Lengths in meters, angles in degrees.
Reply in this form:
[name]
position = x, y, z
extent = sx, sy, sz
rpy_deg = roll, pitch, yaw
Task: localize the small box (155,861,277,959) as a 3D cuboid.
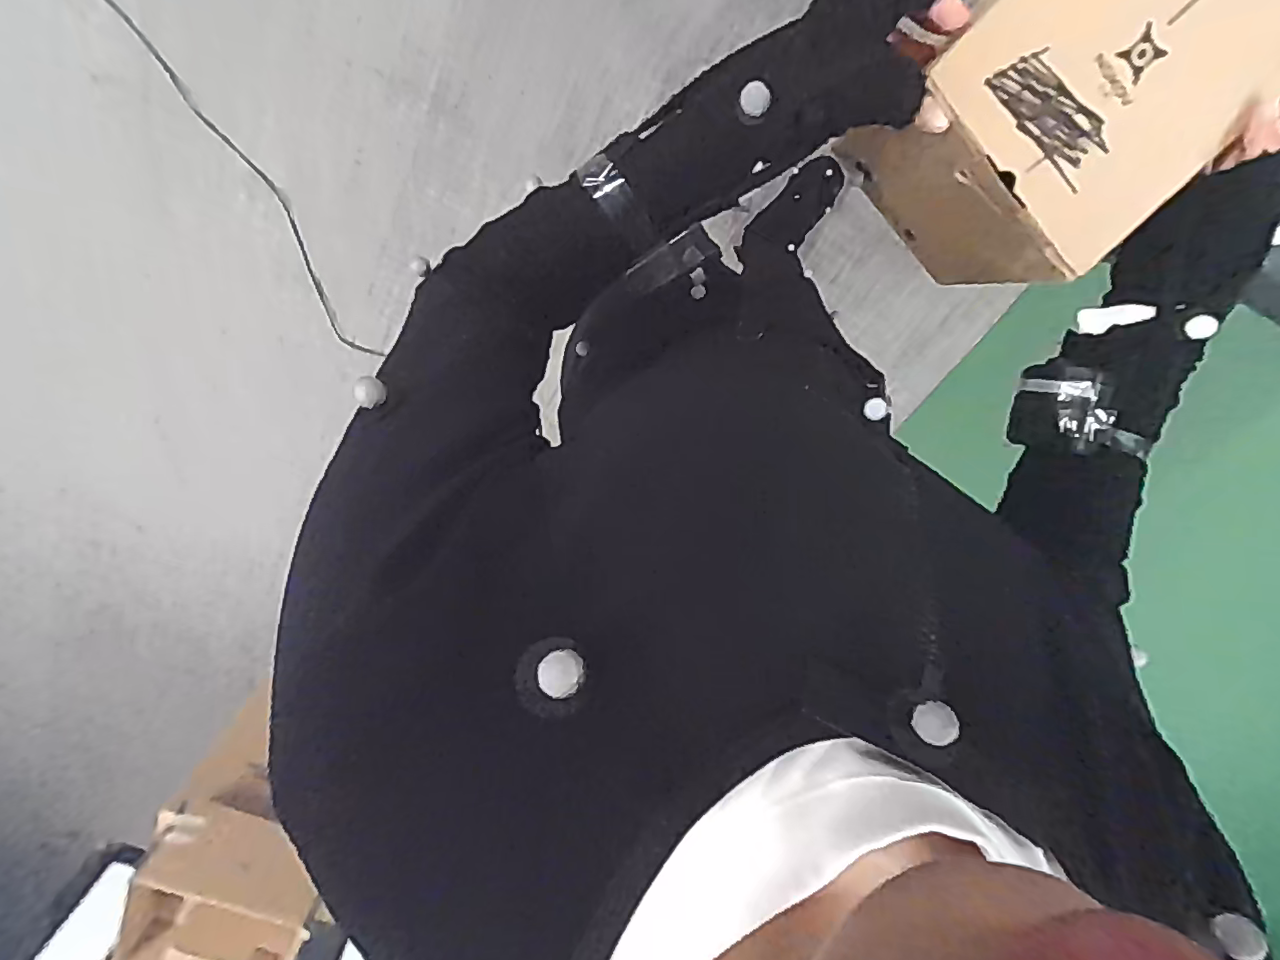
[small box]
position = -1.085, 1.118, 1.389
extent = 0.179, 0.176, 0.168
rpy_deg = 27, 119, -11
